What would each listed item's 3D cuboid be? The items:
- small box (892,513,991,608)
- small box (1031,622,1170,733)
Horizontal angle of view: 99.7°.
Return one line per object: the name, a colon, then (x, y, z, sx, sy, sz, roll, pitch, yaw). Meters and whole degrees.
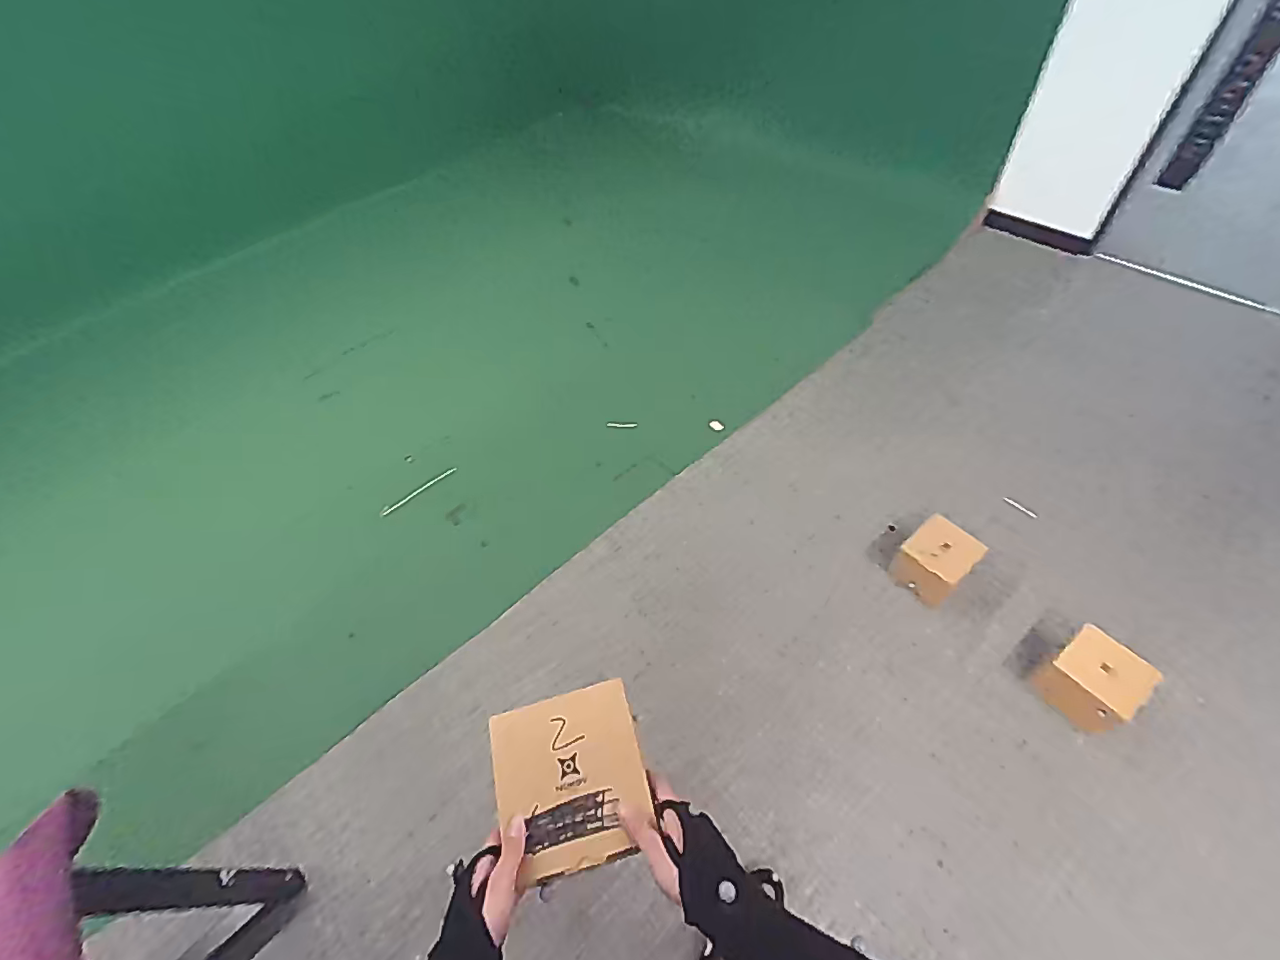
small box: (0.863, 0.235, 1.568, 0.179, 0.176, 0.168, -36, 56, -17)
small box: (1.128, 0.494, 1.340, 0.168, 0.176, 0.179, -36, 58, -17)
